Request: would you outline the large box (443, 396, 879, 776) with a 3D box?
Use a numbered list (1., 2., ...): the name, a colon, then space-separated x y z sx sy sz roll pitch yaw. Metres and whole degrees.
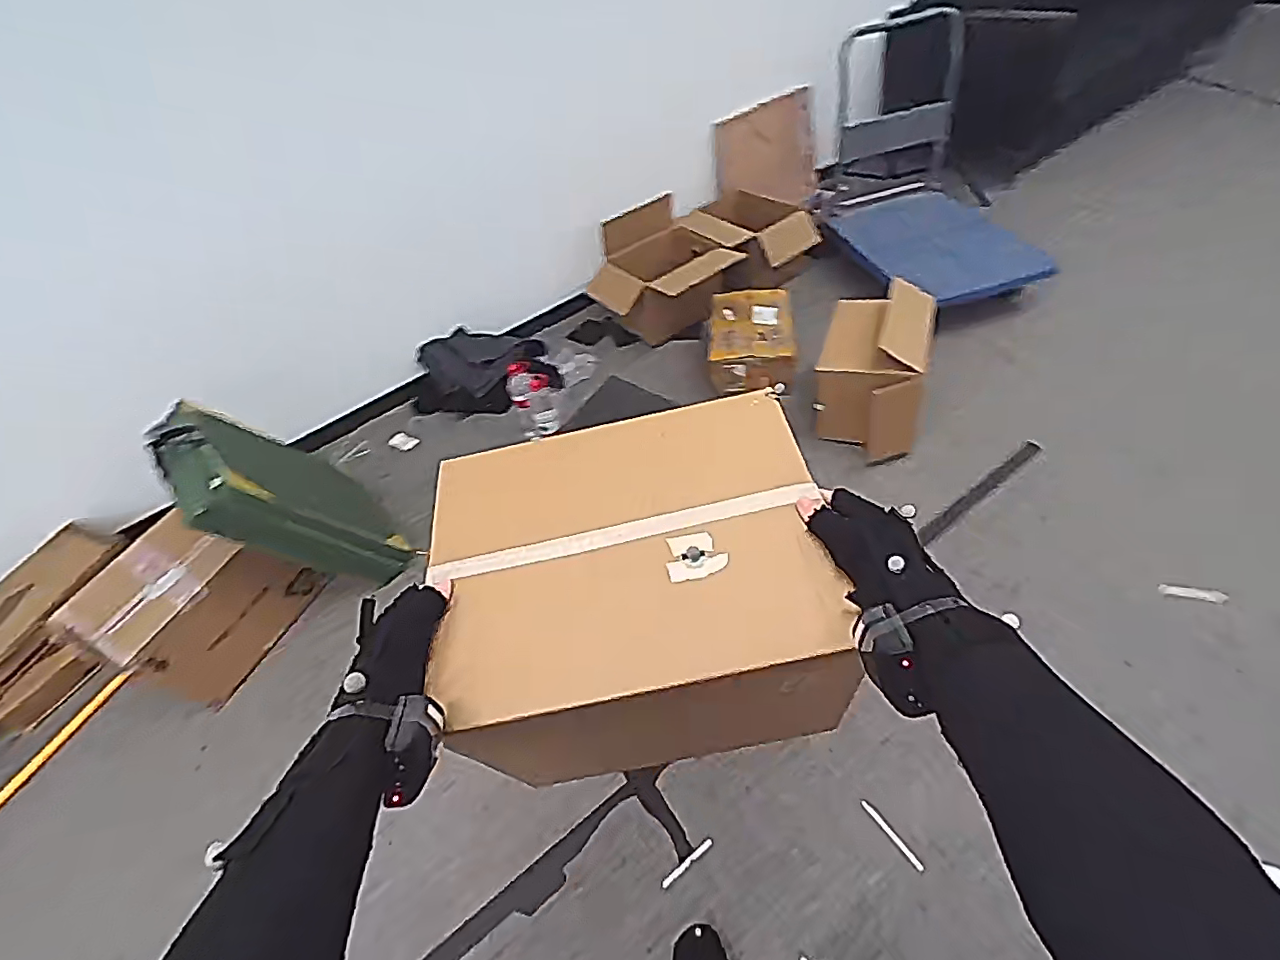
1. large box: 0.015 0.144 0.682 0.408 0.320 0.320 -11 53 2
